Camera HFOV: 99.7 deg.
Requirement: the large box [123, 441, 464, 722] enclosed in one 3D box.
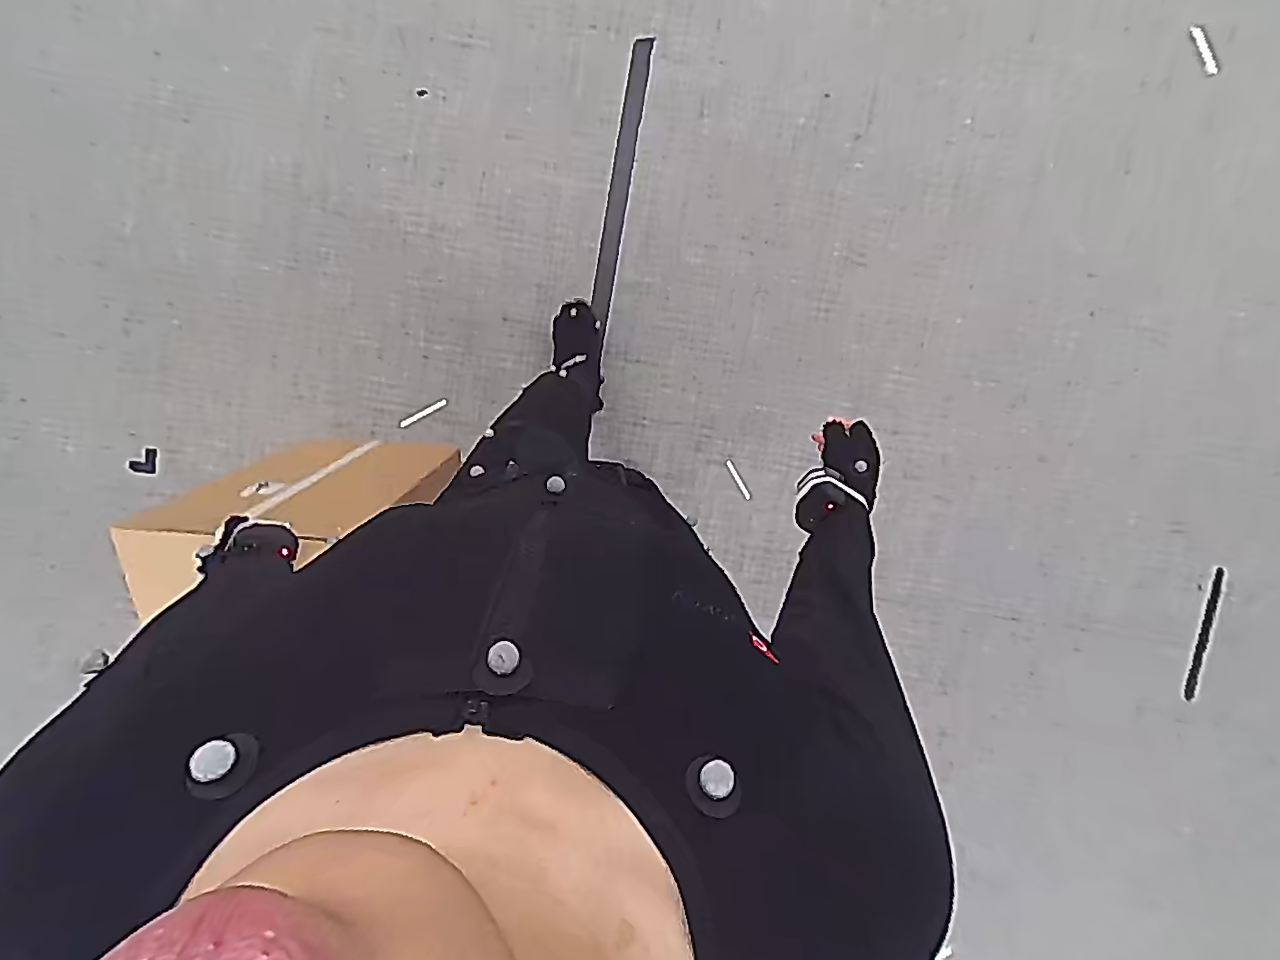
[{"bbox_3d":[-0.525,0.143,0.935,0.320,0.408,0.320,2,111,2],"label":"large box"}]
